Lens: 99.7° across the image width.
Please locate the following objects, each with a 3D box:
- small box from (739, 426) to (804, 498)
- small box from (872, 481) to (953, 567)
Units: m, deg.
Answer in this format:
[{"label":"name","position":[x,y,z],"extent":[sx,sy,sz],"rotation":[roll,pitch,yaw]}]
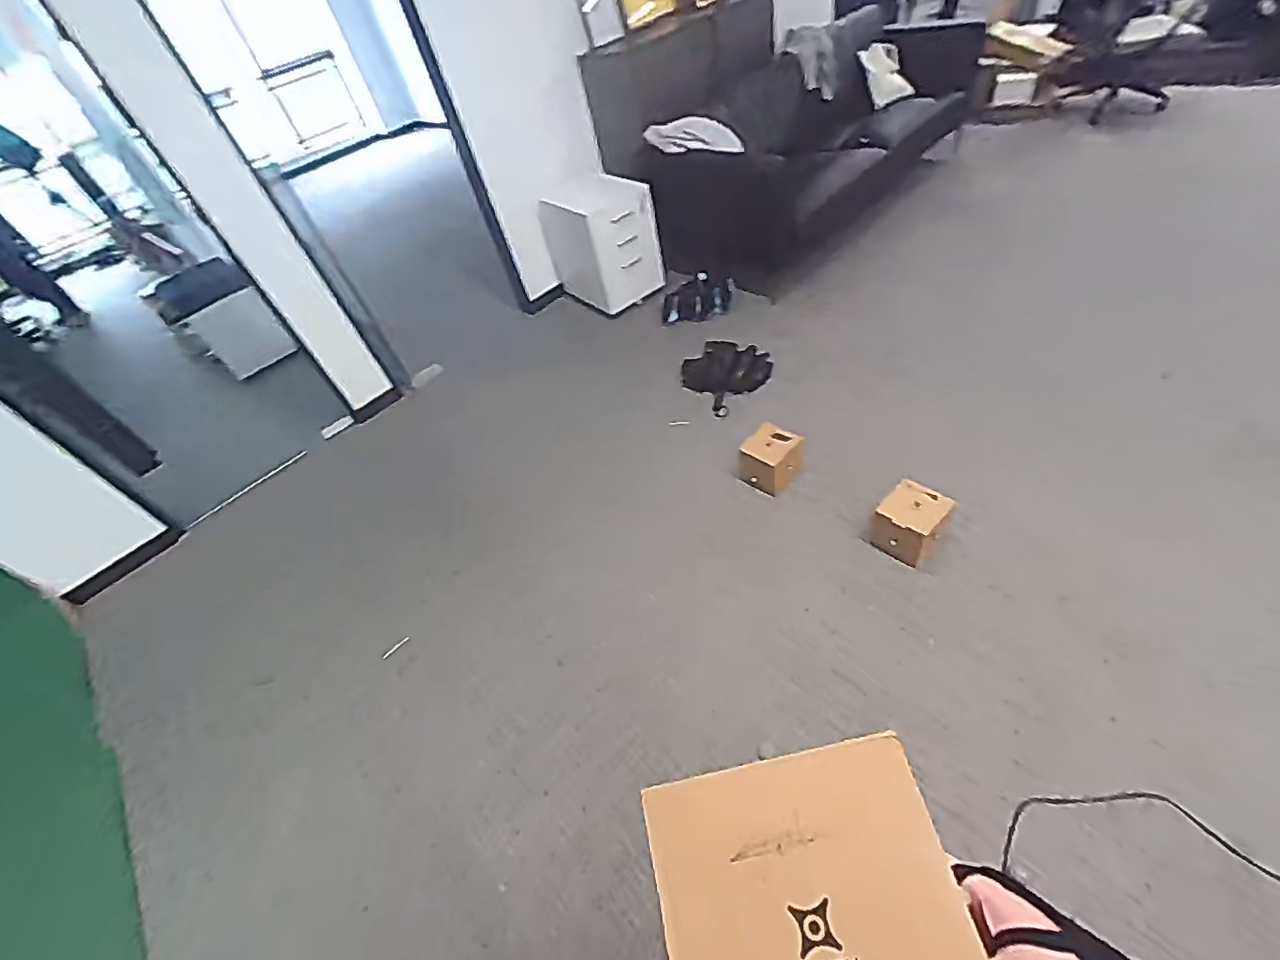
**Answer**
[{"label":"small box","position":[0.494,-0.066,2.029],"extent":[0.179,0.176,0.168],"rotation":[-42,49,-21]},{"label":"small box","position":[0.859,0.143,1.718],"extent":[0.179,0.176,0.168],"rotation":[-39,49,-20]}]
